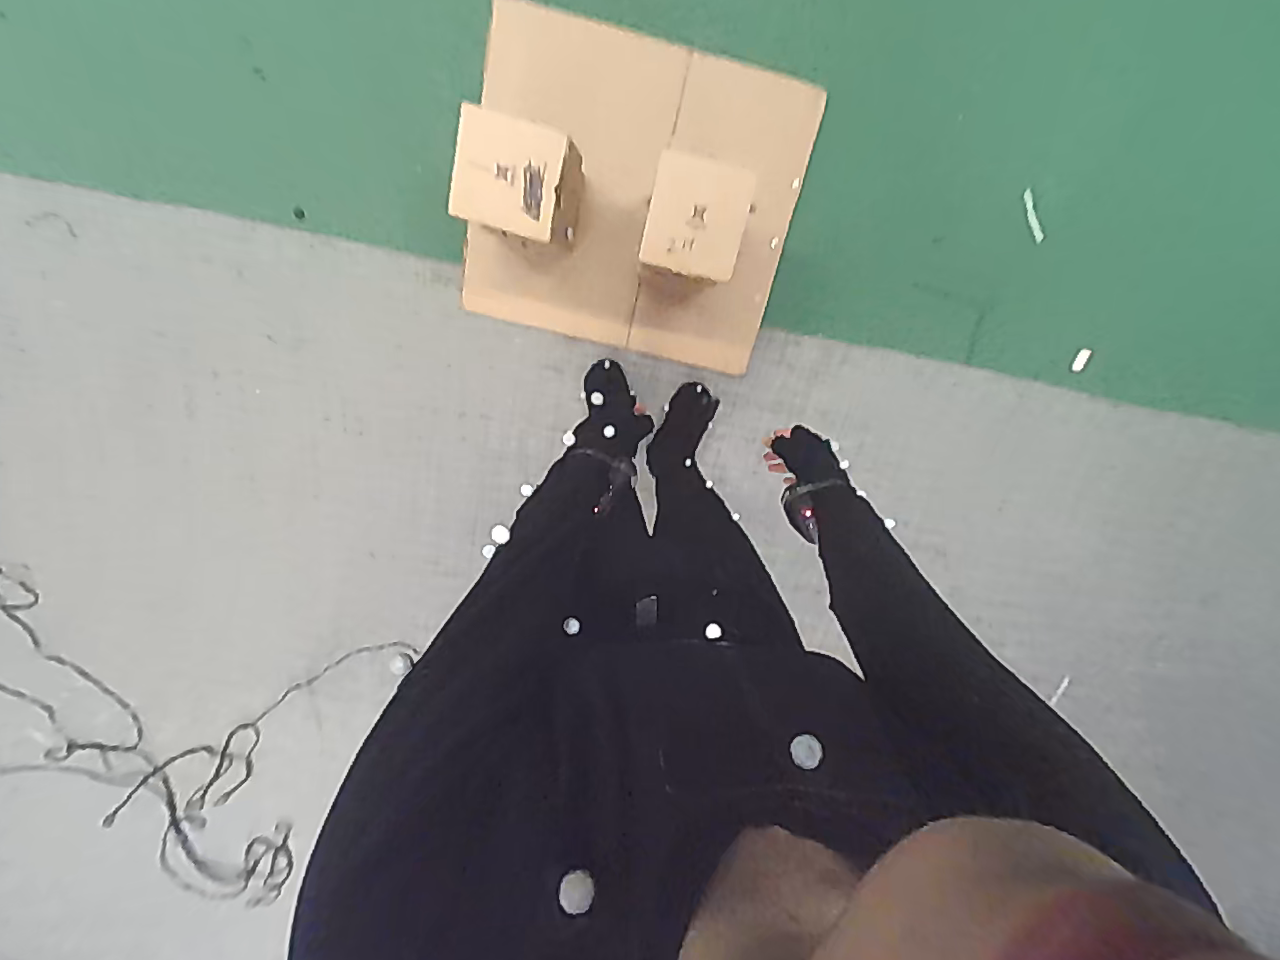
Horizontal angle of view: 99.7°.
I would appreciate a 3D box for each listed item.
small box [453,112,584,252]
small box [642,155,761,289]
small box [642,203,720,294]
[{"bbox_3d":[-0.206,-0.512,0.957,0.179,0.176,0.168,16,109,-3],"label":"small box"},{"bbox_3d":[0.101,-0.455,0.979,0.168,0.176,0.179,13,110,-4],"label":"small box"},{"bbox_3d":[0.099,-0.500,1.138,0.168,0.176,0.179,11,110,-3],"label":"small box"}]
